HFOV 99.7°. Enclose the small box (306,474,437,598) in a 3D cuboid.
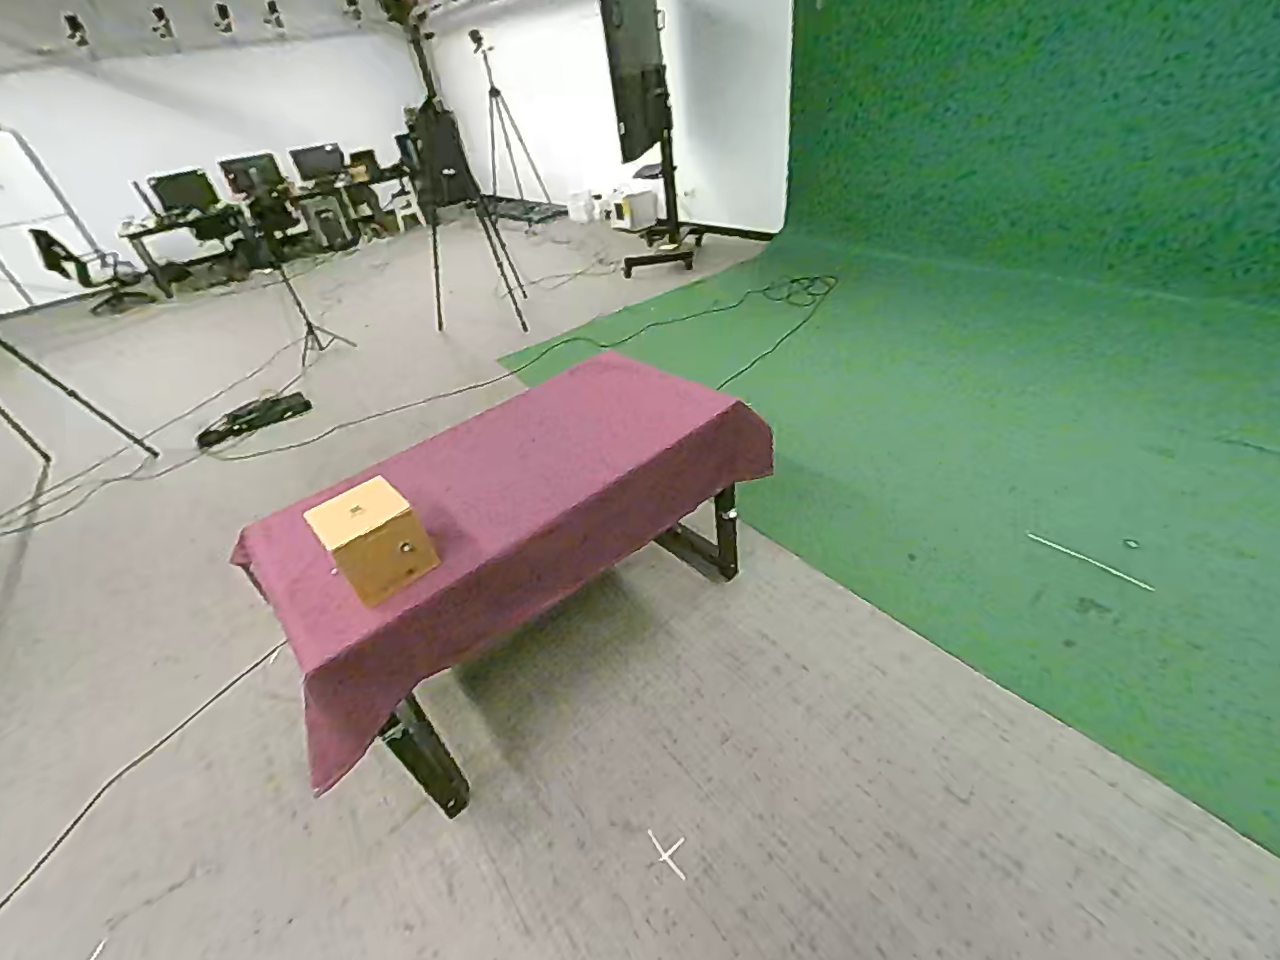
[{"bbox_3d":[-0.556,0.121,1.134,0.168,0.176,0.179,-33,43,-29],"label":"small box"}]
